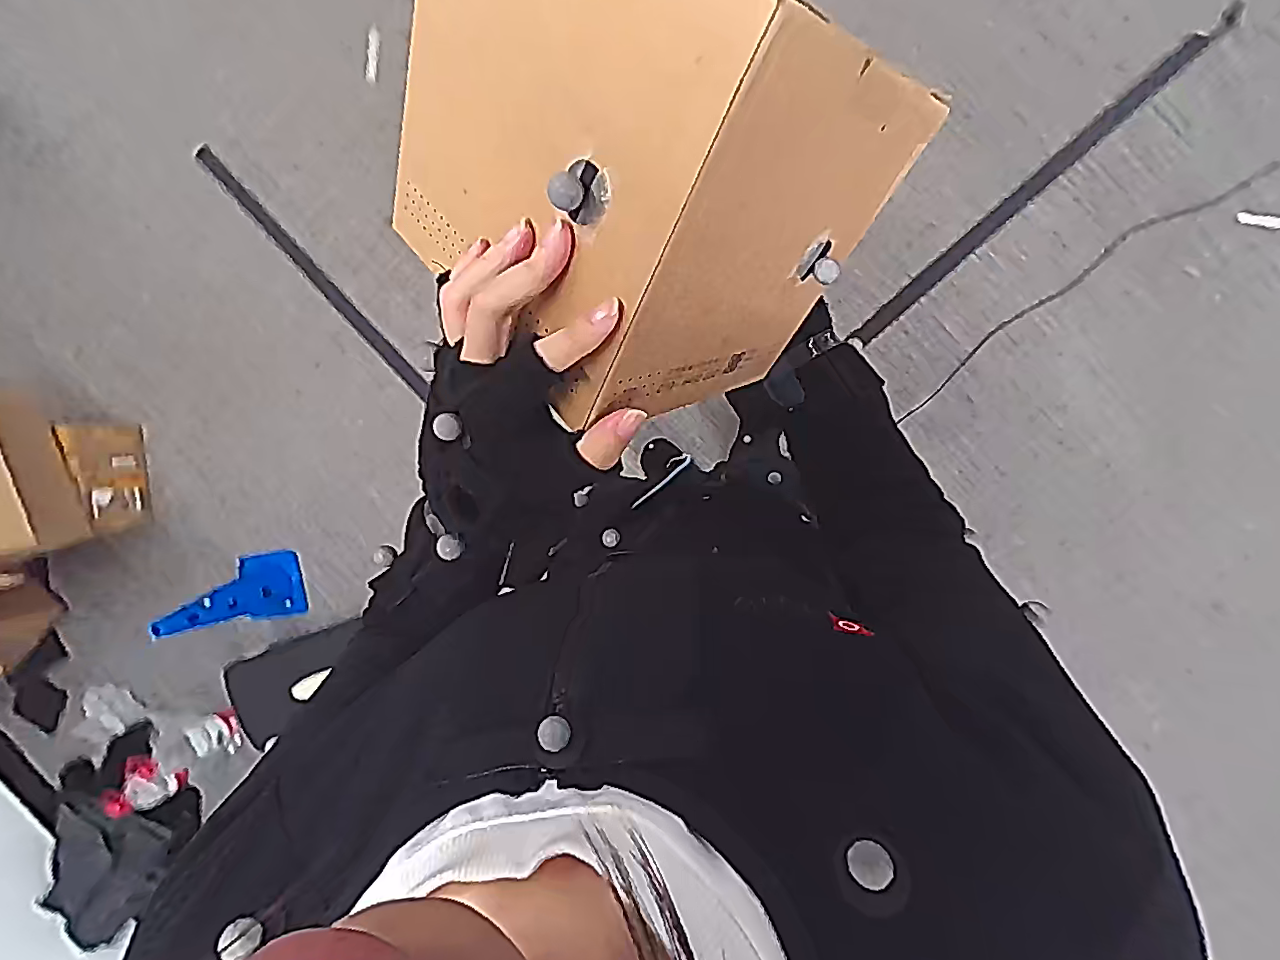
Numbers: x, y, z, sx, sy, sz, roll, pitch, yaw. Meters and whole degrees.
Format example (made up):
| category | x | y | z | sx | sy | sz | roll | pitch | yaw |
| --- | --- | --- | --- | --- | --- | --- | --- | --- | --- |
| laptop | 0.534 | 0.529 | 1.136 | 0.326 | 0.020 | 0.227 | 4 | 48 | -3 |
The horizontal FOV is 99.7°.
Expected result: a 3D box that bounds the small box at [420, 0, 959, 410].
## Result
| category | x | y | z | sx | sy | sz | roll | pitch | yaw |
| --- | --- | --- | --- | --- | --- | --- | --- | --- | --- |
| small box | 0.011 | -0.153 | 0.279 | 0.179 | 0.168 | 0.176 | 49 | 133 | 18 |
